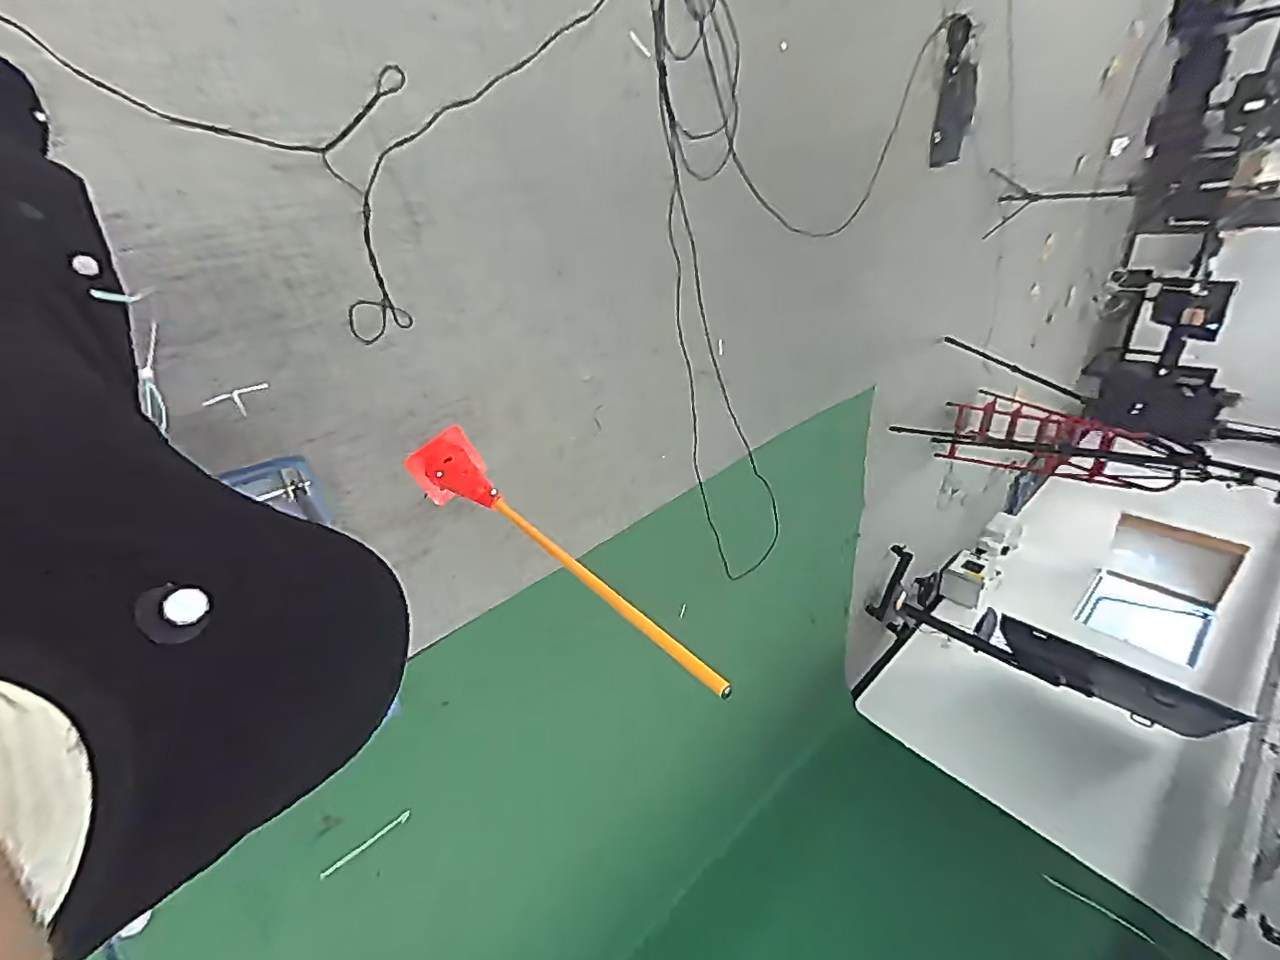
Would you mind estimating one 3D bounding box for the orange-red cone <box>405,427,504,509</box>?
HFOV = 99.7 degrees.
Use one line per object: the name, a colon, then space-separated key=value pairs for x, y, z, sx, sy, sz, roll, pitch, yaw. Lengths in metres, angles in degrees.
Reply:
orange-red cone: x=-0.503 y=0.005 z=1.592 sx=0.199 sy=0.360 sz=0.198 roll=-42 pitch=133 yaw=-23
